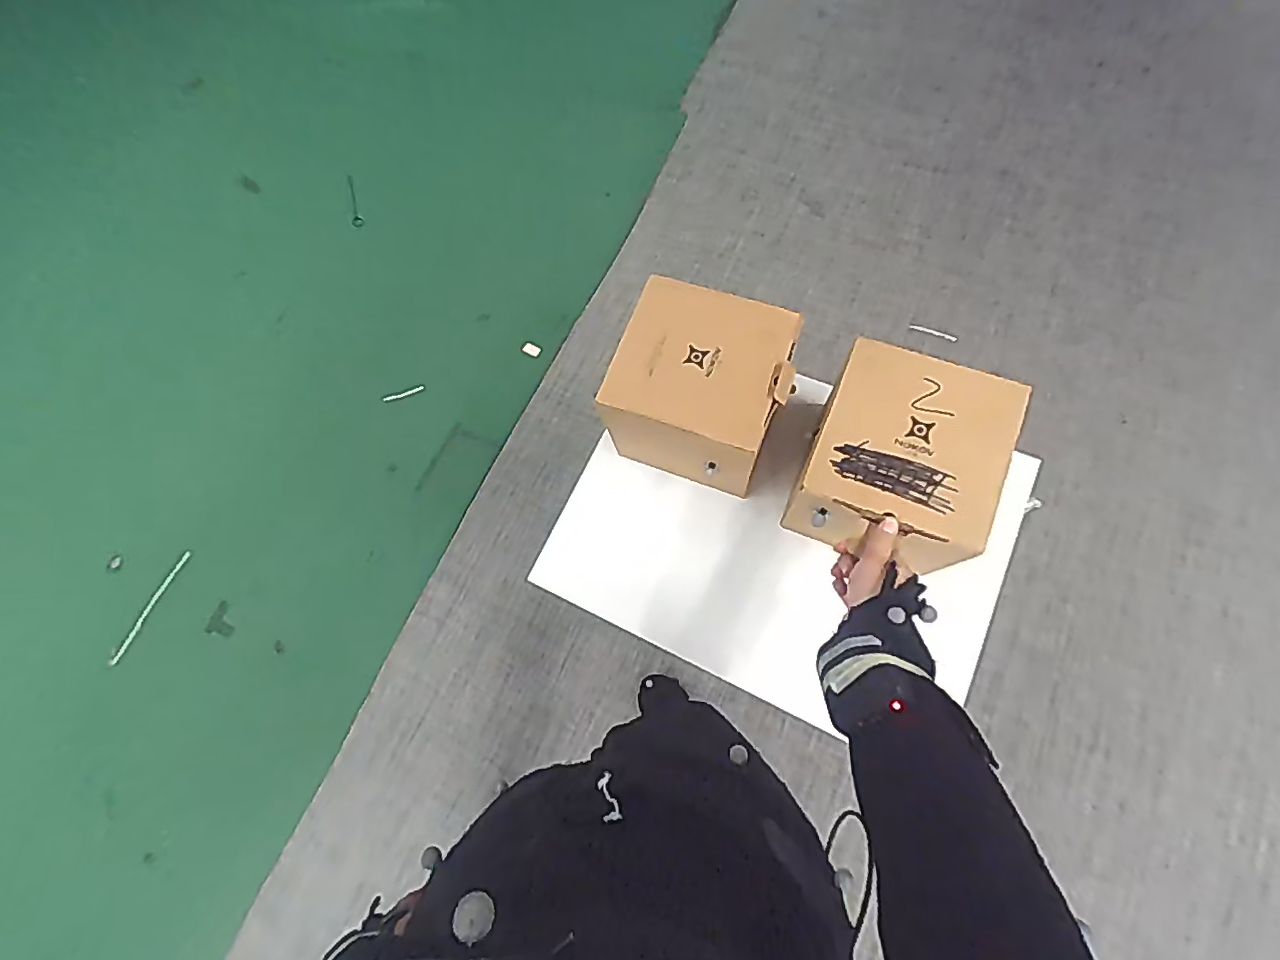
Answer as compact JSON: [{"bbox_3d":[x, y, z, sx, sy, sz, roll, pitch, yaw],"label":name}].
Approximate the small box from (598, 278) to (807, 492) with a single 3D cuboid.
[{"bbox_3d":[0.074,-0.099,0.635,0.179,0.176,0.168,19,75,12],"label":"small box"}]
